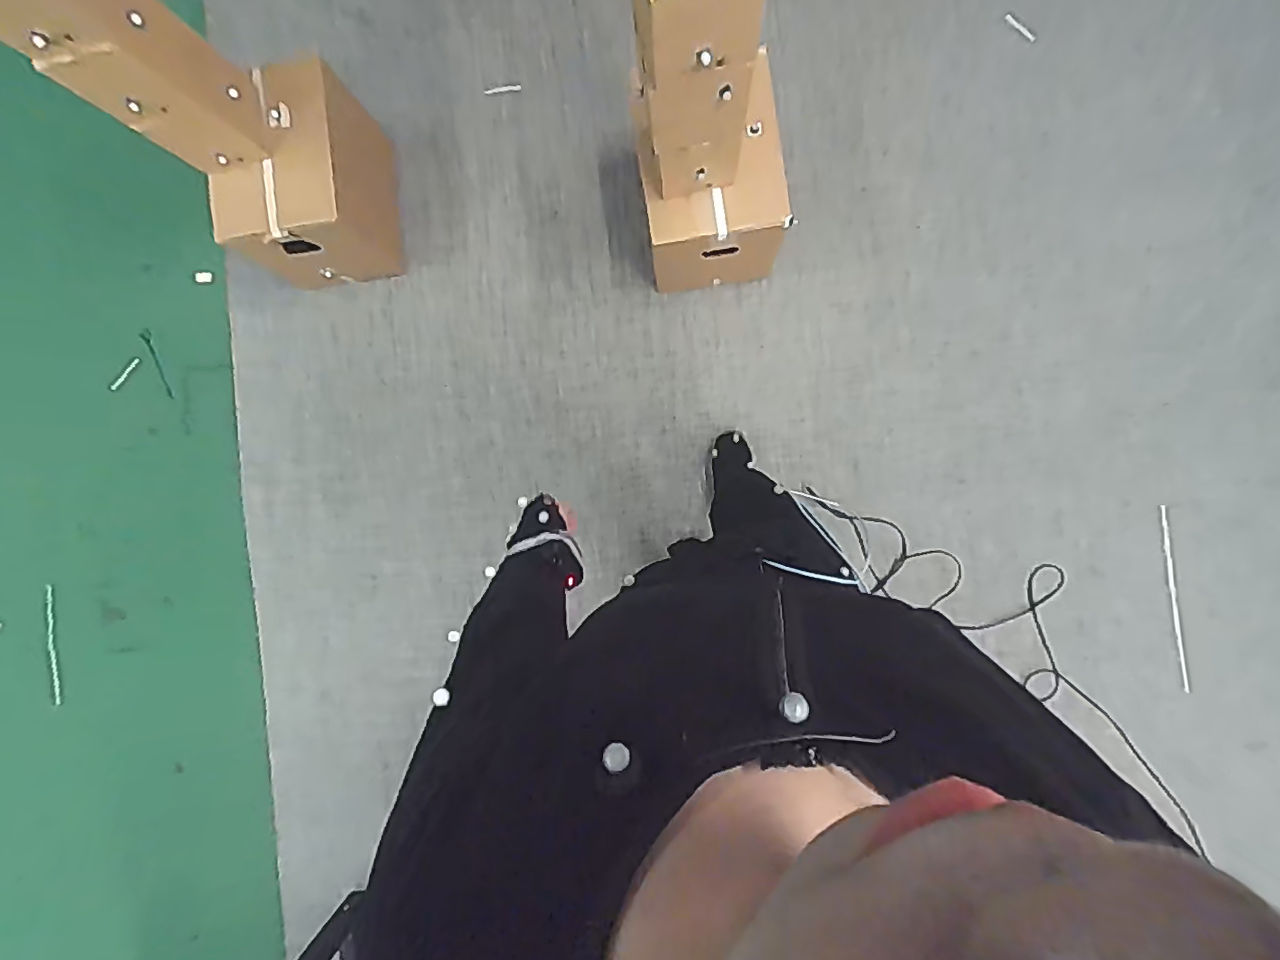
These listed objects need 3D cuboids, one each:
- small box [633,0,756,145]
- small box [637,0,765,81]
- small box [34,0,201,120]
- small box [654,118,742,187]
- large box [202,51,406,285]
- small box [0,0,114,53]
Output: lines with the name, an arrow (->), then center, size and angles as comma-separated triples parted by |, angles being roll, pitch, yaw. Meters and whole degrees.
small box -> 0.093, -0.724, 0.938 | 0.179, 0.176, 0.168 | -11, 88, 6
small box -> 0.079, -0.731, 0.774 | 0.168, 0.176, 0.179 | -14, 89, 6
small box -> -0.983, -0.832, 1.023 | 0.168, 0.176, 0.179 | -8, 90, 8
small box -> 0.110, -0.728, 1.102 | 0.168, 0.176, 0.179 | -11, 90, 6
large box -> -0.857, -0.785, 1.420 | 0.320, 0.320, 0.408 | -7, 88, 5
small box -> -1.000, -0.839, 0.860 | 0.168, 0.176, 0.179 | -6, 91, 8
